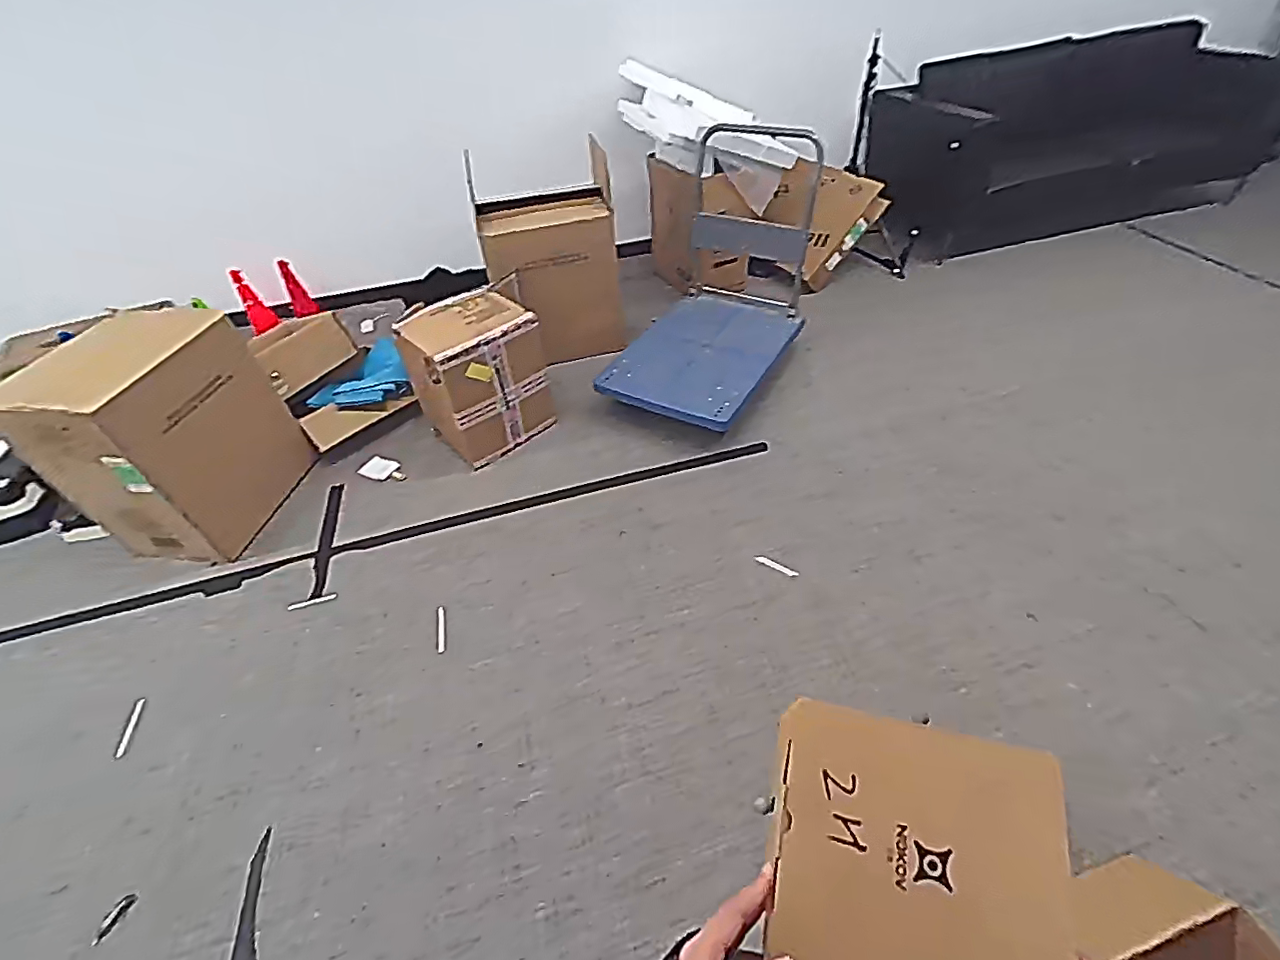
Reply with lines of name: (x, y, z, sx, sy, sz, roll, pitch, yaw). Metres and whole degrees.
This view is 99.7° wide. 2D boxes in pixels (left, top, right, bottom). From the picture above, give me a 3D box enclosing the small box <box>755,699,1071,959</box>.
small box: (0.190, 0.283, 0.422, 0.179, 0.176, 0.168, 8, 64, 15)
